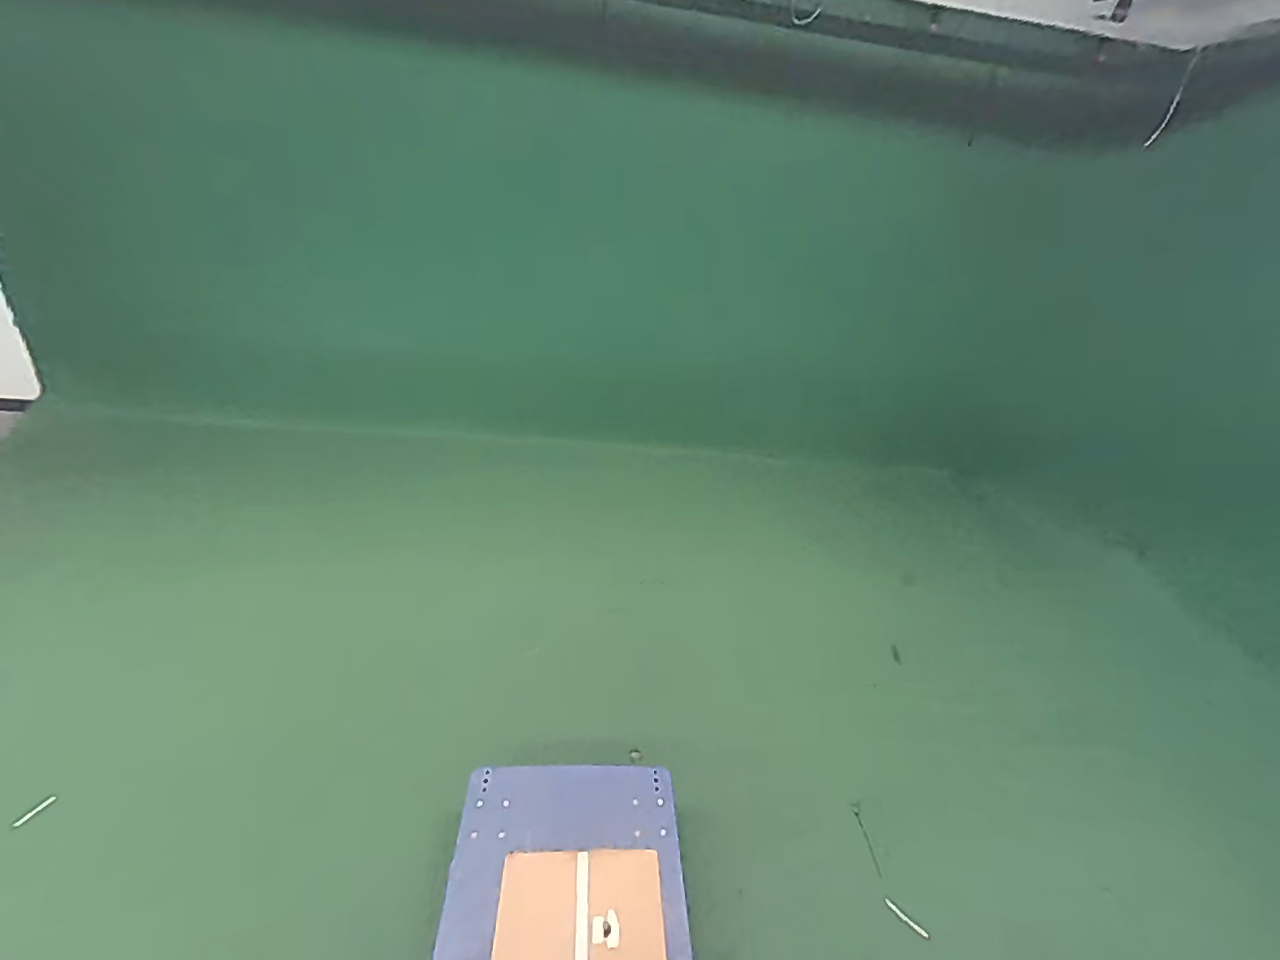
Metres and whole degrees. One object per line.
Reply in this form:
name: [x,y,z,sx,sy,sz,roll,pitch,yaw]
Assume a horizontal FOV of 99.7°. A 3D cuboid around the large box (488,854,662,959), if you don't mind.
large box: [-0.125,0.997,1.001,0.320,0.320,0.408,4,28,-7]
